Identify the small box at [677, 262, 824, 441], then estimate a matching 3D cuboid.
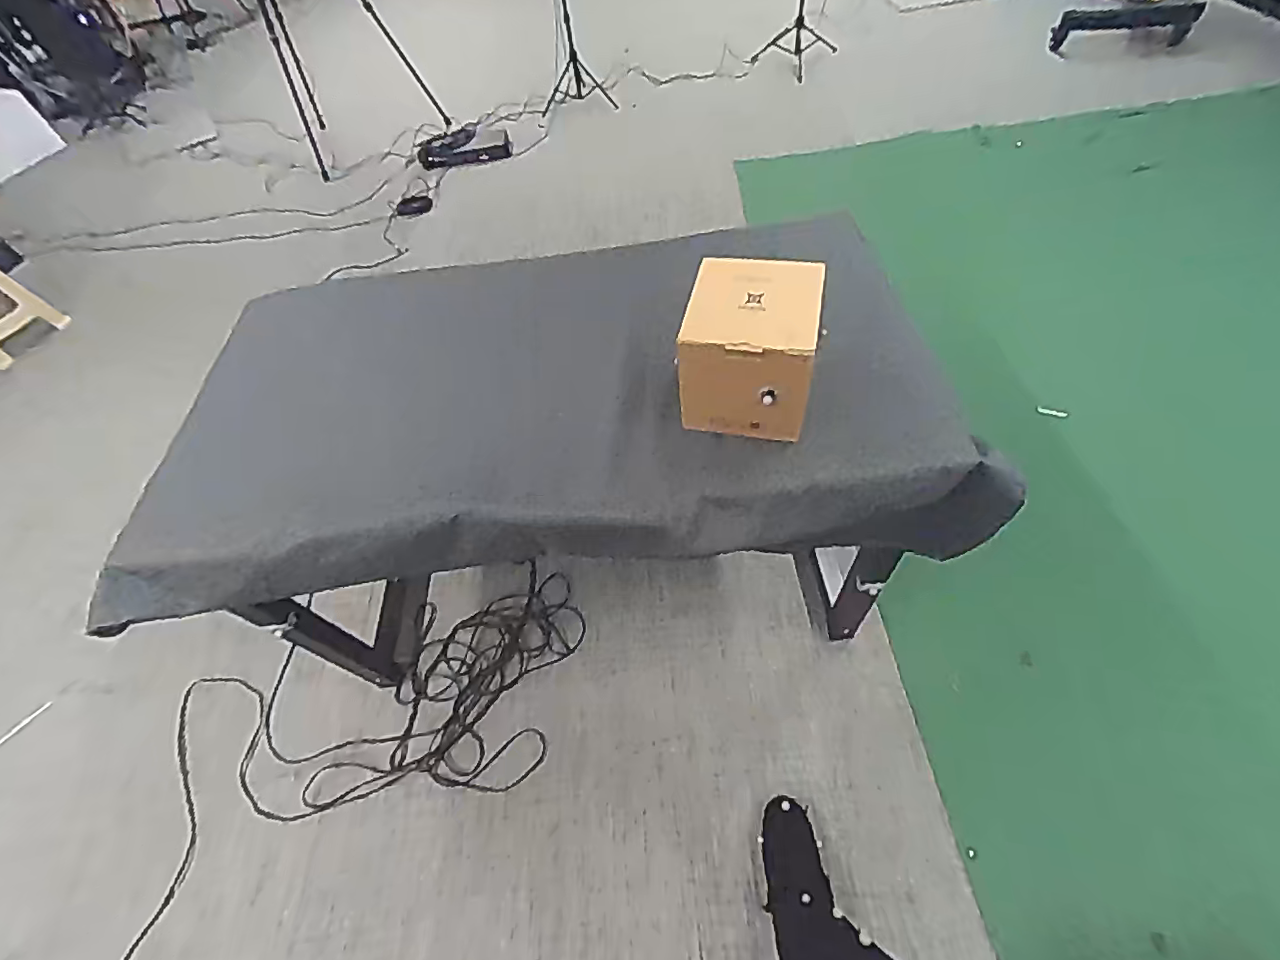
[{"bbox_3d":[0.152,-0.175,0.750,0.168,0.176,0.179,9,55,13],"label":"small box"}]
